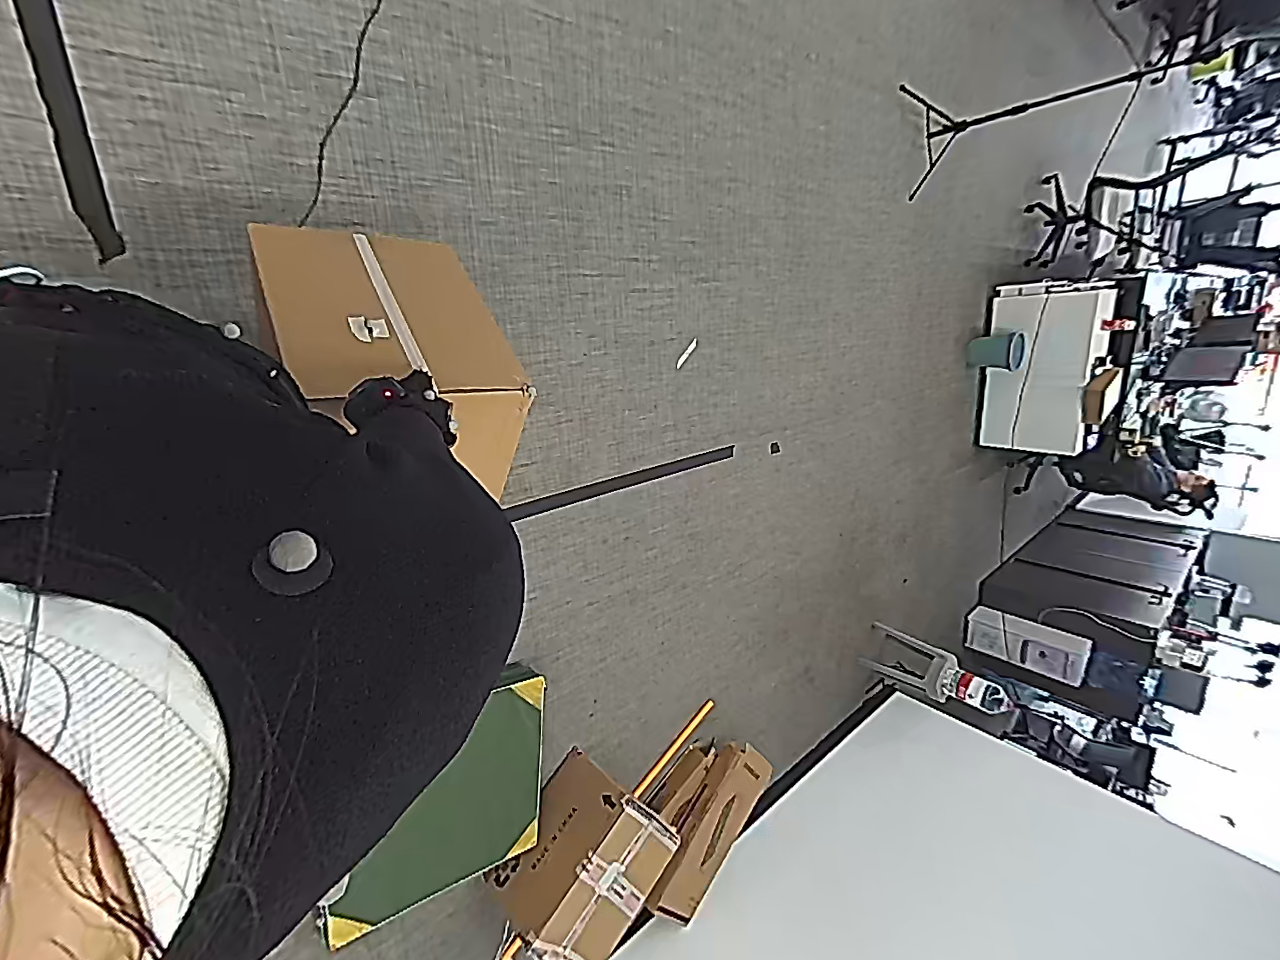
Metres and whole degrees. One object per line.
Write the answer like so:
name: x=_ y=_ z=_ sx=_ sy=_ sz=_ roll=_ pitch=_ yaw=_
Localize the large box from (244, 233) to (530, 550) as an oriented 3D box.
large box: x=-0.441 y=-0.153 z=0.919 sx=0.320 sy=0.408 sz=0.320 roll=-11 pitch=146 yaw=-37
